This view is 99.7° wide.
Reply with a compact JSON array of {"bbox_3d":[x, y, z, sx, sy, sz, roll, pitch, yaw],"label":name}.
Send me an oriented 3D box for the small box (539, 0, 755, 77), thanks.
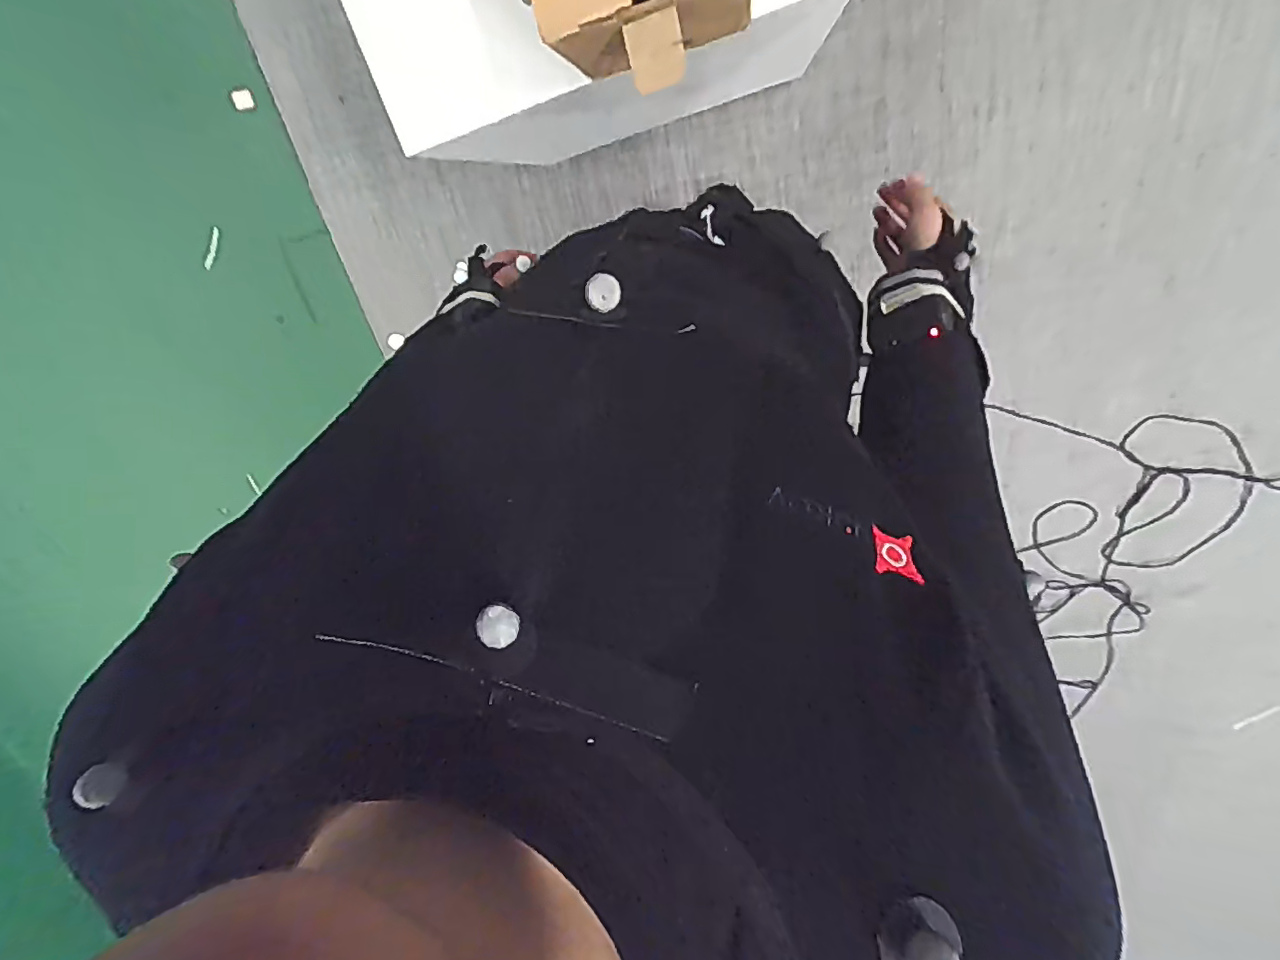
[{"bbox_3d":[-0.001,-0.463,0.434,0.168,0.176,0.179,-9,117,14],"label":"small box"}]
